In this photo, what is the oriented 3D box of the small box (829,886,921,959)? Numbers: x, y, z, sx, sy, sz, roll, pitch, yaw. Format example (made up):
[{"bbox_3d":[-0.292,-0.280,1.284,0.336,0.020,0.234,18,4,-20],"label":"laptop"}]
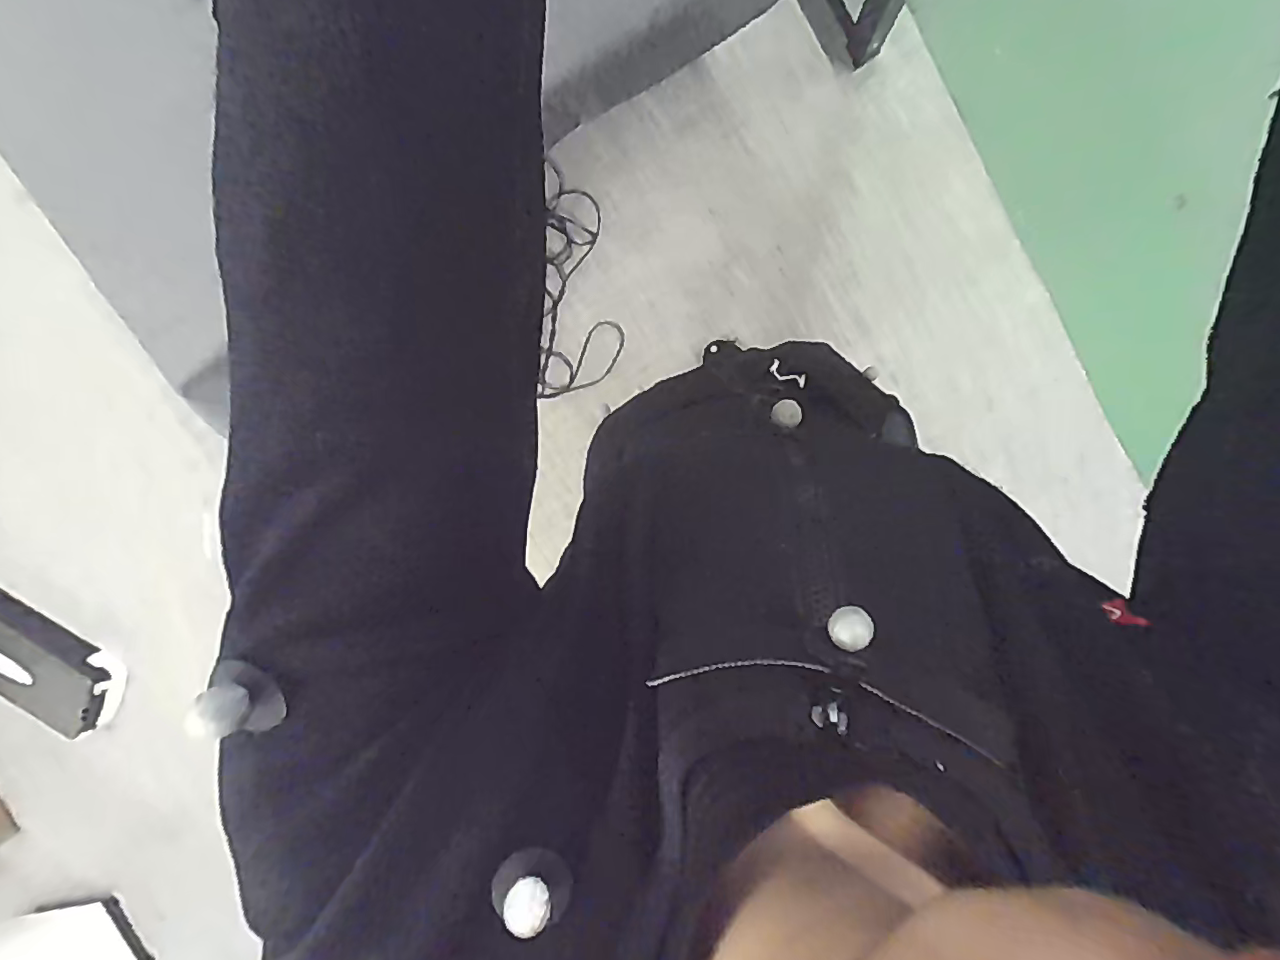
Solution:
[{"bbox_3d":[0.646,1.262,1.477,0.179,0.176,0.168,-32,97,14],"label":"small box"}]
